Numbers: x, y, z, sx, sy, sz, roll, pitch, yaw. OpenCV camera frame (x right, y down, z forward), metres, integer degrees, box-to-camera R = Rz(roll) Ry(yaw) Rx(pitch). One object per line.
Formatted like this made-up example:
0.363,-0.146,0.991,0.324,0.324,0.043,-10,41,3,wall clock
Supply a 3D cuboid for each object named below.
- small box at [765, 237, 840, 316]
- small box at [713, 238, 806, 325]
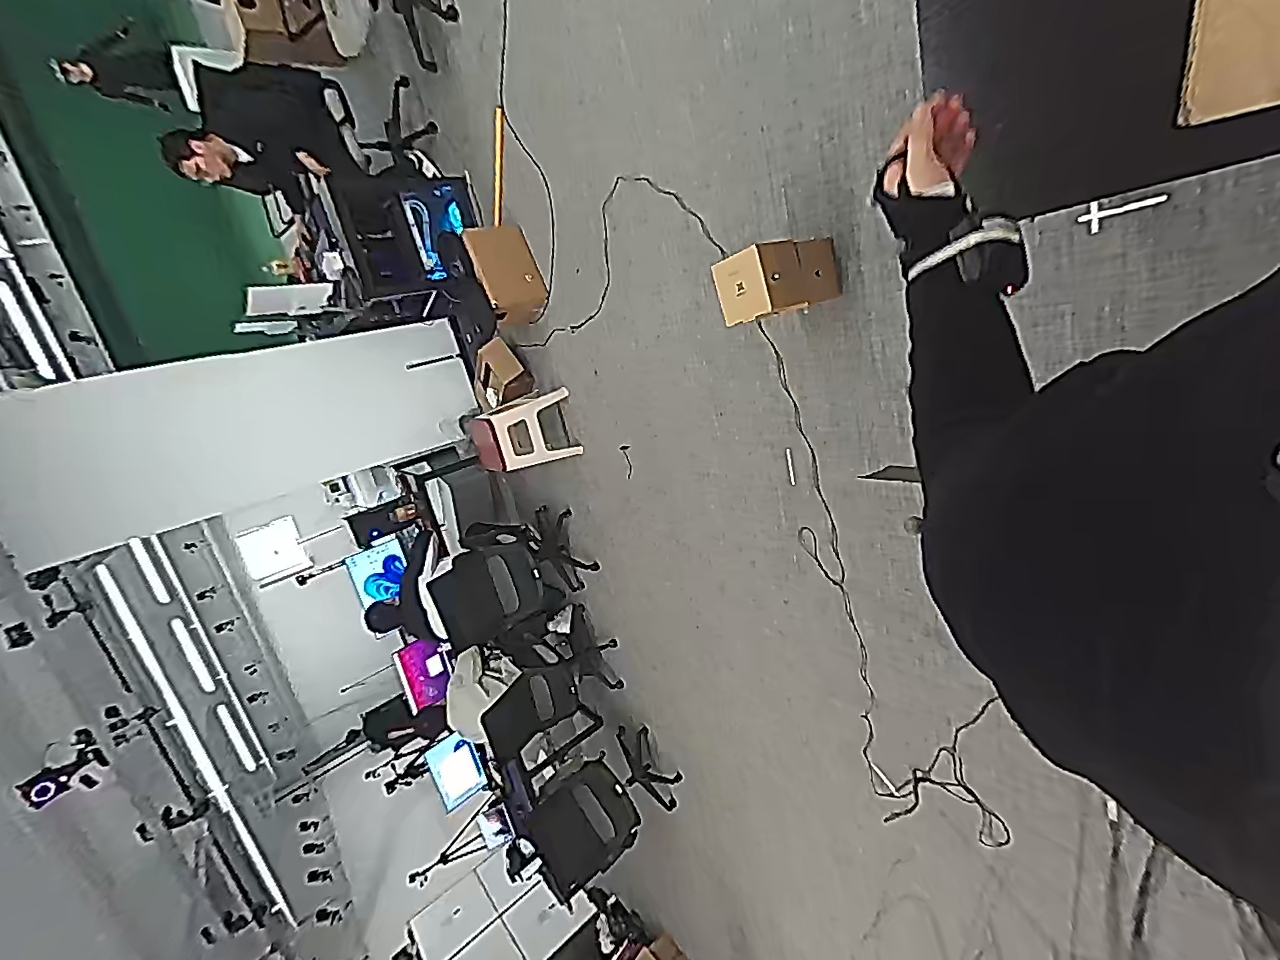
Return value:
0.460,-0.597,1.583,0.168,0.176,0.179,1,111,54,small box
0.334,-0.548,1.492,0.168,0.176,0.179,-4,105,54,small box
